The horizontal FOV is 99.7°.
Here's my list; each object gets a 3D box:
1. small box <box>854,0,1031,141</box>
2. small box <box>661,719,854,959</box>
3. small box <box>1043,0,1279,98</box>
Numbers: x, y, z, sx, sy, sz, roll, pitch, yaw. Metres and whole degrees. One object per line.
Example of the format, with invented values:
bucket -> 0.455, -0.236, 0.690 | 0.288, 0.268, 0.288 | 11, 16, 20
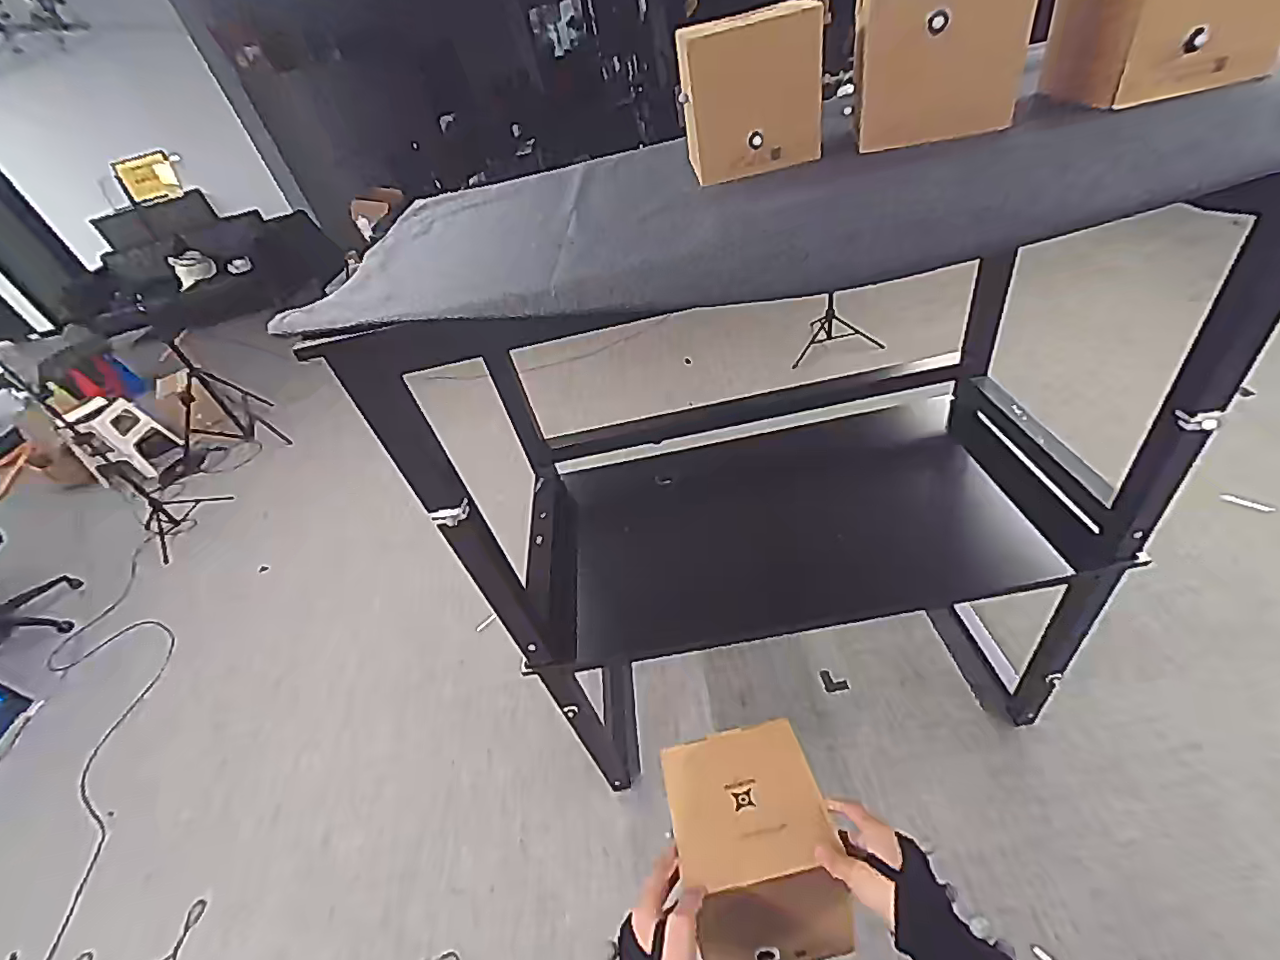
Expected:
small box -> 0.370, -0.551, 0.686 | 0.179, 0.176, 0.168 | 0, 43, 16
small box -> 0.127, 0.414, 0.615 | 0.168, 0.176, 0.179 | -13, 23, 0
small box -> 0.614, -0.566, 0.627 | 0.168, 0.176, 0.179 | -8, 41, 9
